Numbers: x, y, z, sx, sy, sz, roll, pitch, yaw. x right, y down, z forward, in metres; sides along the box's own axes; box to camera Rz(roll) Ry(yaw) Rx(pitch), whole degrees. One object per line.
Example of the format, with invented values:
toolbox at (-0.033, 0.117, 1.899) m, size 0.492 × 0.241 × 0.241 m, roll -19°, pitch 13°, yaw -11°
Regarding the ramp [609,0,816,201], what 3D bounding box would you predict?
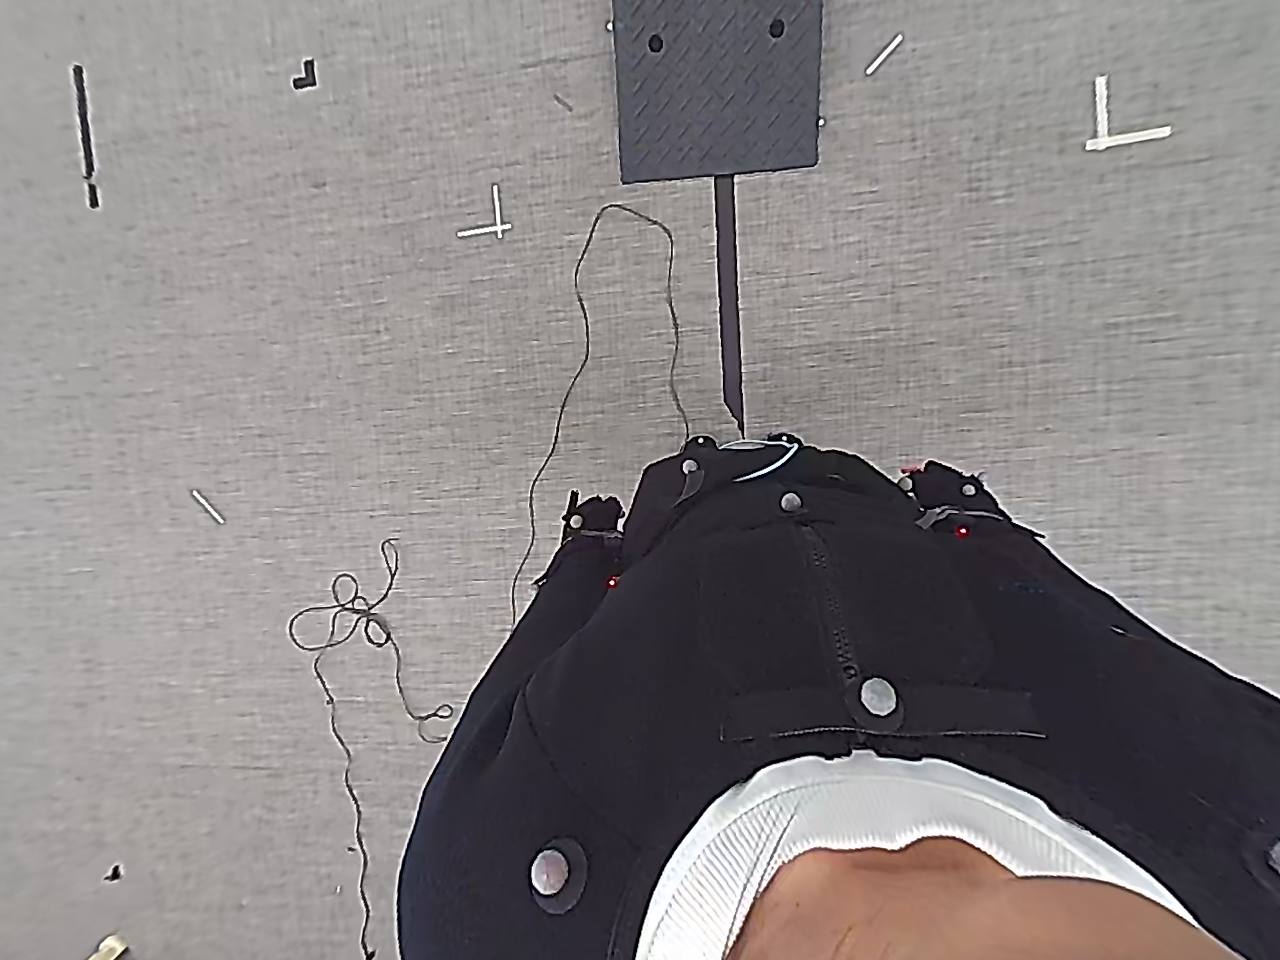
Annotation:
ramp at (0.164, -1.230, 1.276) m, size 0.509 × 0.206 × 0.991 m, roll -4°, pitch 94°, yaw 8°
